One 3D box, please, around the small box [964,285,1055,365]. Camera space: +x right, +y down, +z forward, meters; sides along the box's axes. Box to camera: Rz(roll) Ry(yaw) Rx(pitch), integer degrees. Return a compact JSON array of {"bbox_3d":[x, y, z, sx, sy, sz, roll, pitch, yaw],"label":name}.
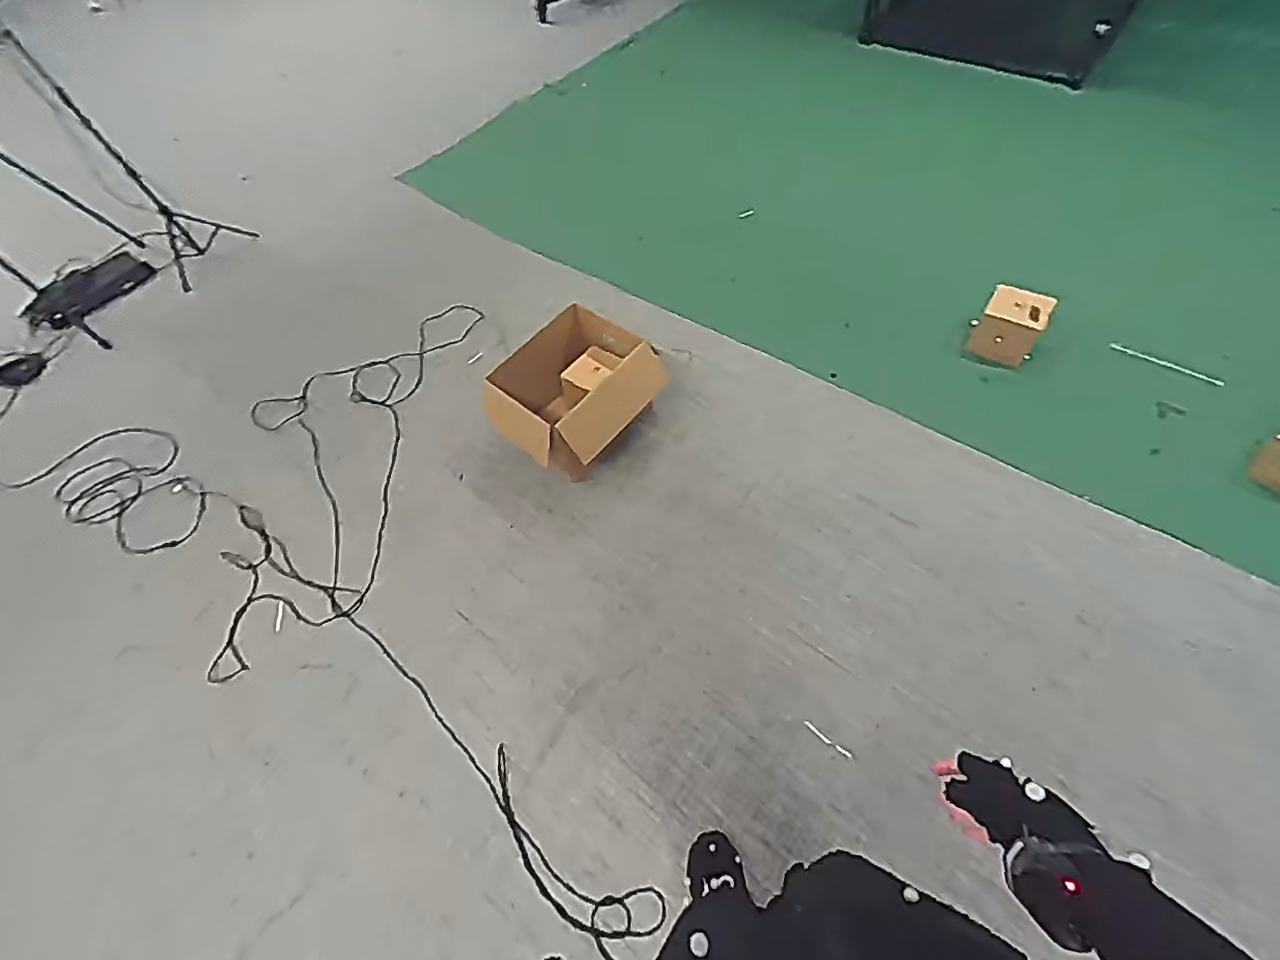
[{"bbox_3d":[1.224,-0.510,1.801,0.179,0.176,0.168,29,65,23],"label":"small box"}]
